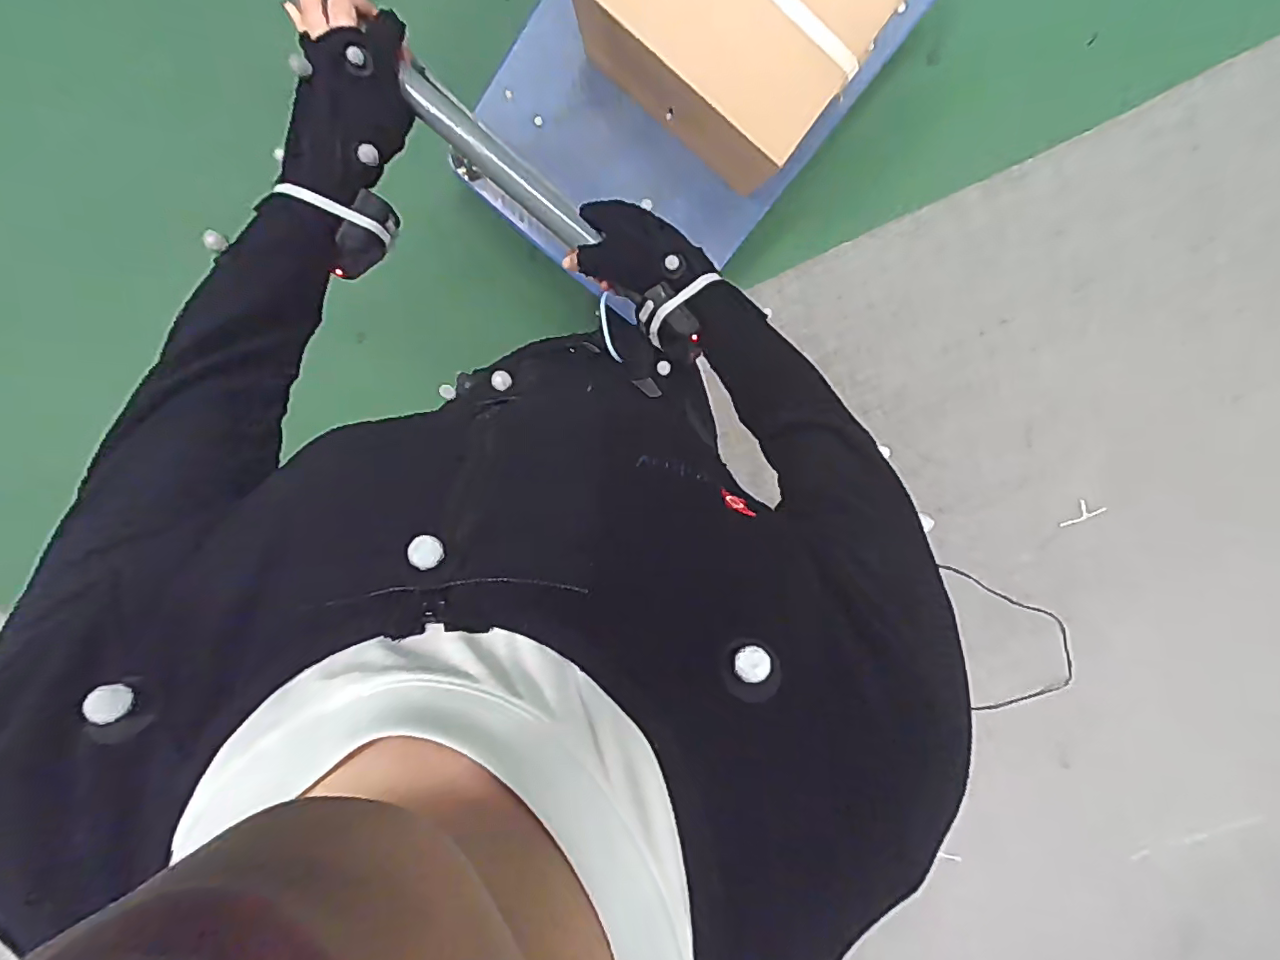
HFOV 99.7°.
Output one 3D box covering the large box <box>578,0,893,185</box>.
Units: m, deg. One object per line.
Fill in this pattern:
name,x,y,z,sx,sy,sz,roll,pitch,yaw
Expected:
large box,0.152,-0.776,0.903,0.408,0.320,0.320,35,106,-11
